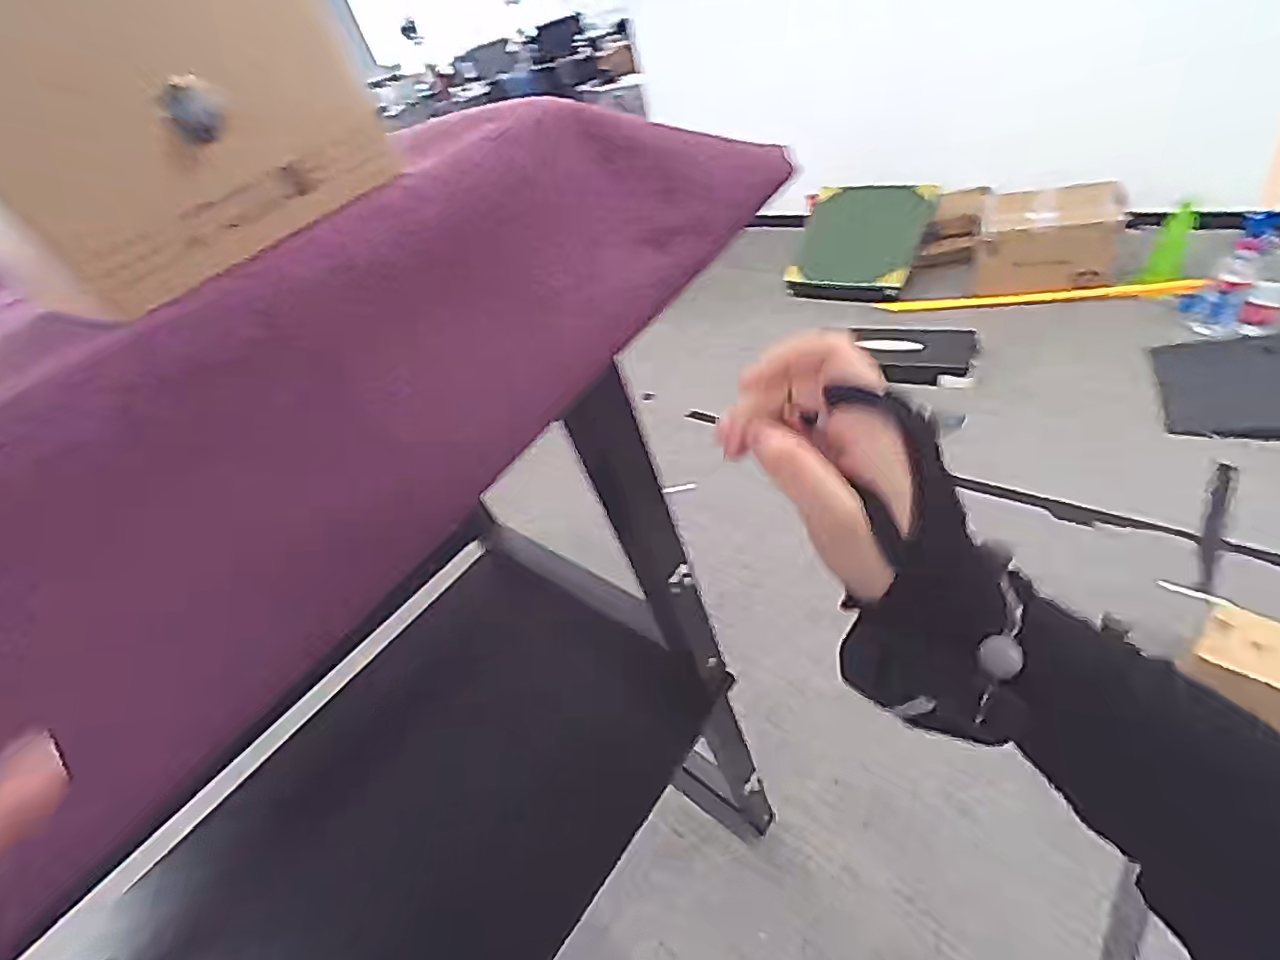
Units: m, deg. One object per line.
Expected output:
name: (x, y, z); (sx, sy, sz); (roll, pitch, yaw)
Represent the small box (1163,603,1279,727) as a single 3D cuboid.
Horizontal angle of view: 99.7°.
small box: (1.322, 0.414, 1.194); (0.179, 0.176, 0.168); (27, 60, 38)
